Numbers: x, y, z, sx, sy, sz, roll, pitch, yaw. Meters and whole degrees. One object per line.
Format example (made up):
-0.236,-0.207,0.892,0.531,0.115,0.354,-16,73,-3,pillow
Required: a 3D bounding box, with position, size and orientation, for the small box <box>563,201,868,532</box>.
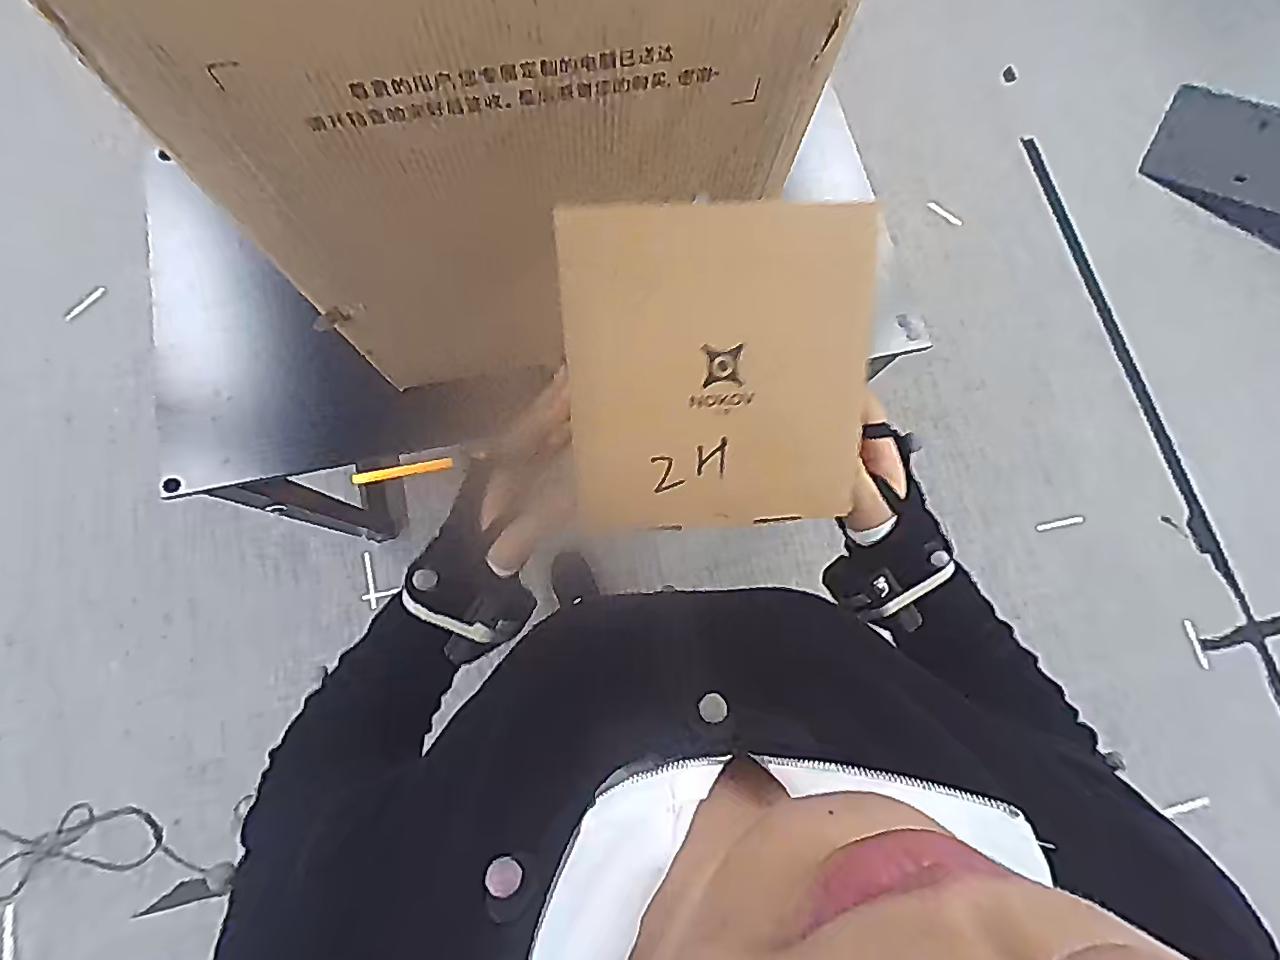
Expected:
0.037,-0.080,0.378,0.168,0.176,0.179,-5,108,-3,small box
